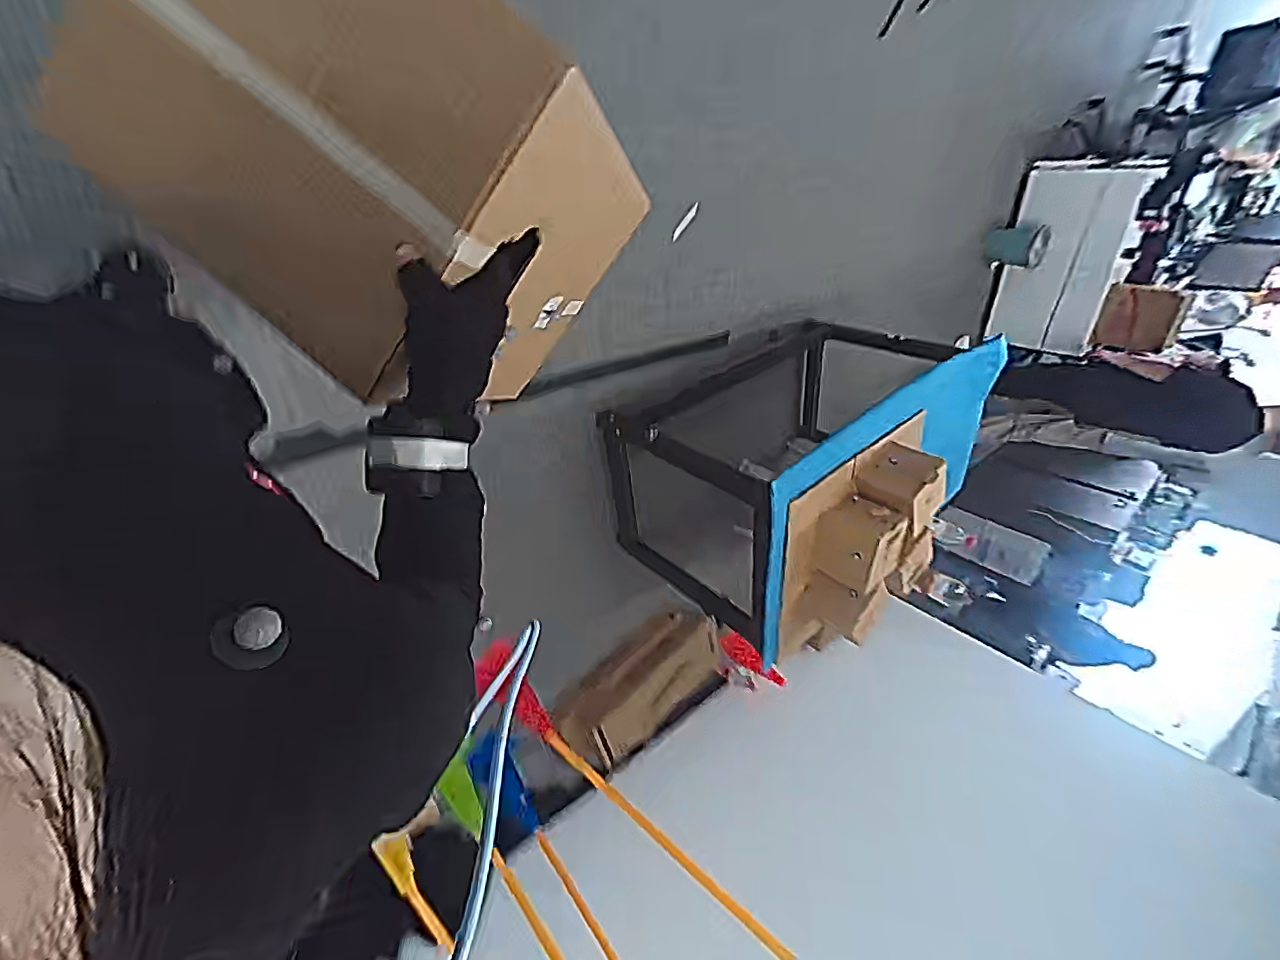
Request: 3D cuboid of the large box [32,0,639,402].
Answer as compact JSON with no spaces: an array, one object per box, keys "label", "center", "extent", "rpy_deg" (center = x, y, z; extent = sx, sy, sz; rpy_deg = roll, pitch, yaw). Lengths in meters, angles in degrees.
[{"label":"large box","center":[-0.268,-0.330,0.576],"extent":[0.320,0.408,0.320],"rpy_deg":[-51,178,17]}]
